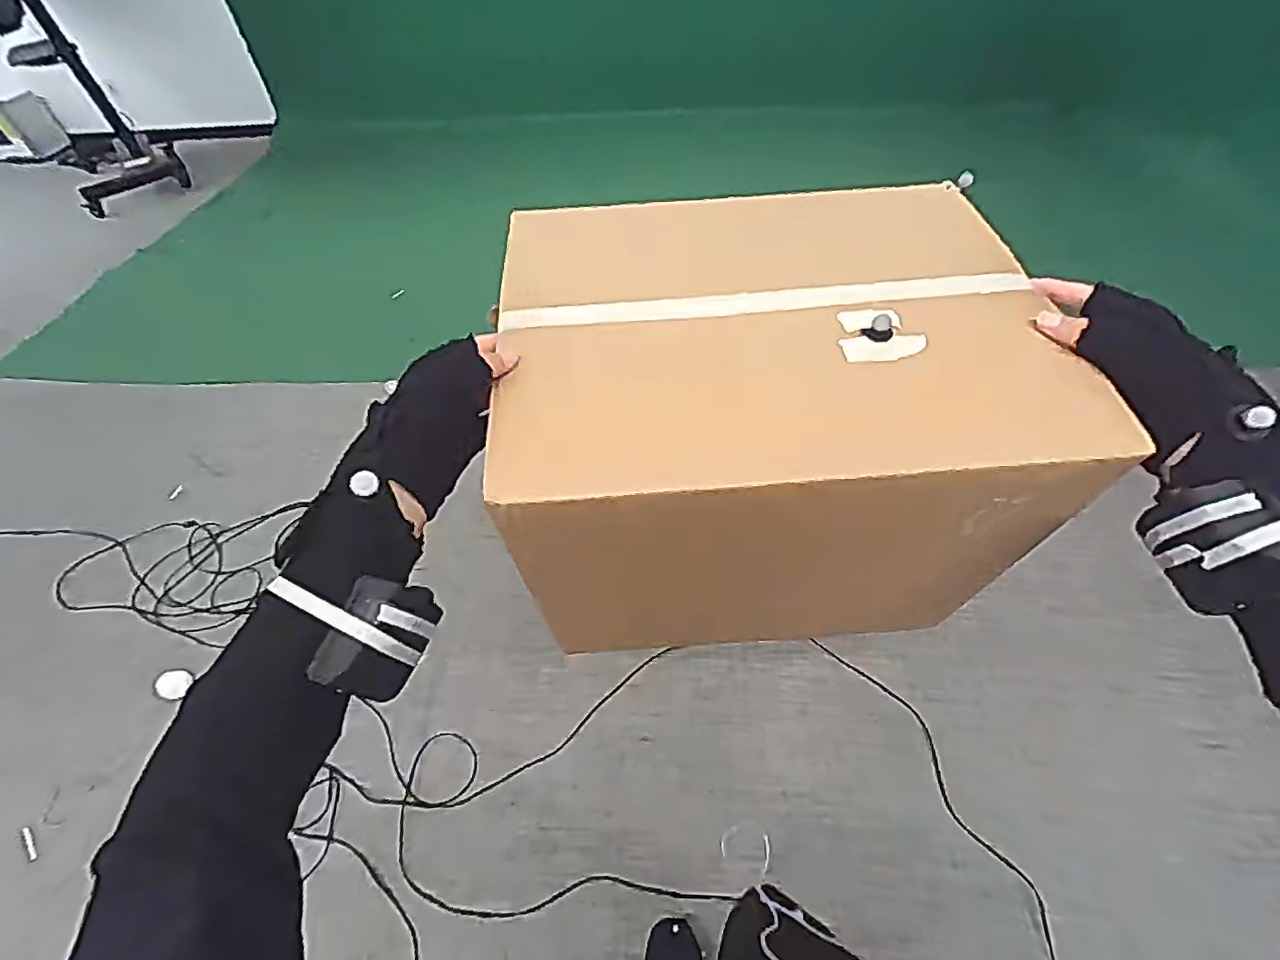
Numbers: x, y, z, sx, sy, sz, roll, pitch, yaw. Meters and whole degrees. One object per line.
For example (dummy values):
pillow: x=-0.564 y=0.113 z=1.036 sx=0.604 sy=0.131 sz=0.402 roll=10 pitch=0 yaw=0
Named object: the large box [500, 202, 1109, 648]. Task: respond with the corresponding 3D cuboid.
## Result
large box: x=0.098 y=-0.043 z=0.548 sx=0.408 sy=0.320 sz=0.320 roll=-4 pitch=56 yaw=-1
